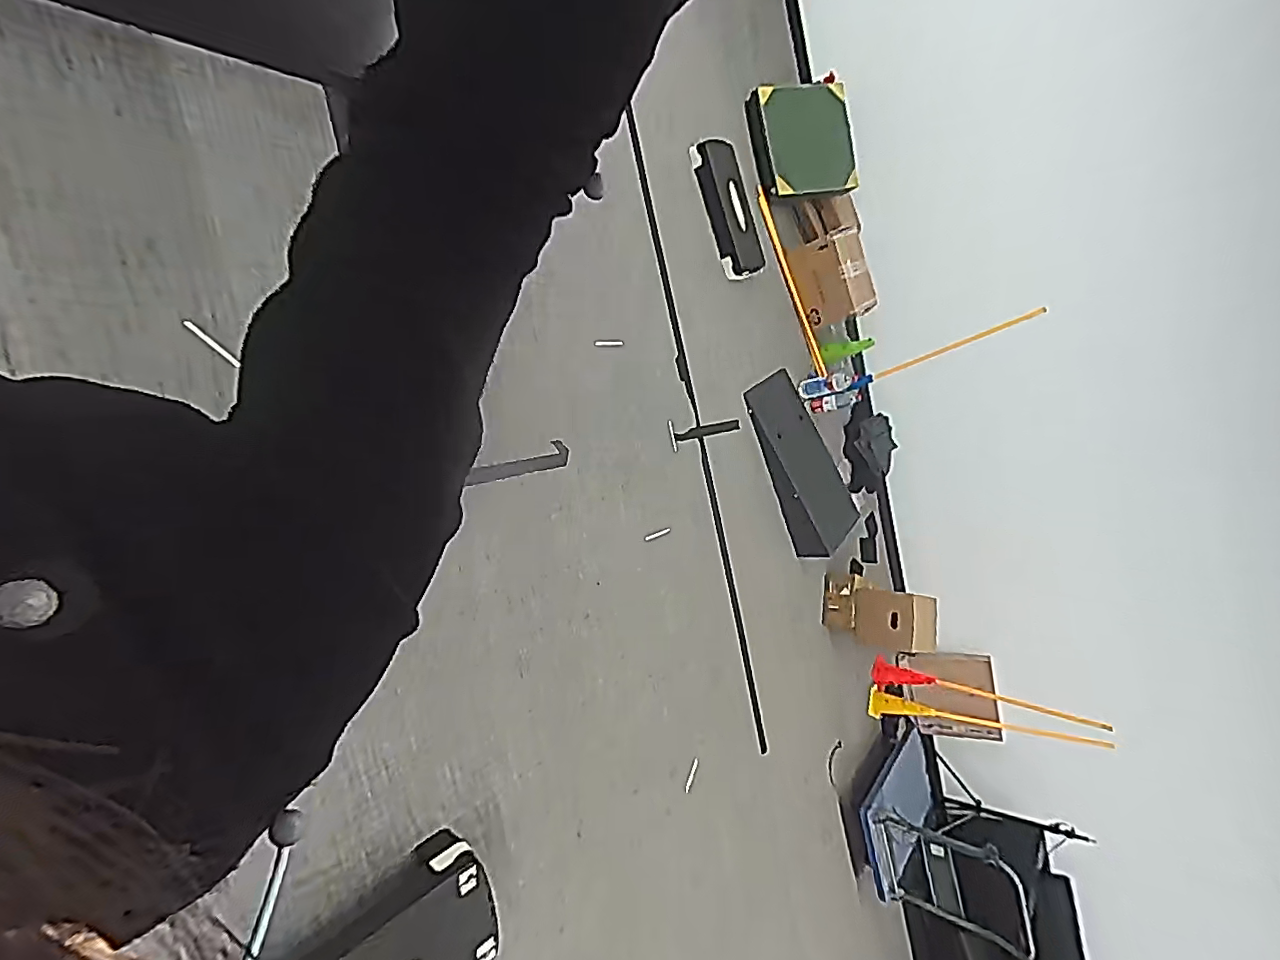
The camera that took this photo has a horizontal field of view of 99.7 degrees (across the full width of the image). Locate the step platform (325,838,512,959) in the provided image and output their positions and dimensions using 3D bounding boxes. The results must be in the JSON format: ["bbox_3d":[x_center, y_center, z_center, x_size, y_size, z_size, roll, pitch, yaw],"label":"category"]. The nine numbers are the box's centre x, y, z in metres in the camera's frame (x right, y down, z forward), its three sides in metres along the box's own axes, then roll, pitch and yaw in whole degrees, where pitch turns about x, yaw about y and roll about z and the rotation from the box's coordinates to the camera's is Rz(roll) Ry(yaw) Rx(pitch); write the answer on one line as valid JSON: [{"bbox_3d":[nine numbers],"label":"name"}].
[{"bbox_3d":[-0.629,1.154,1.236,0.684,0.204,0.286,-7,89,-46],"label":"step platform"}]
